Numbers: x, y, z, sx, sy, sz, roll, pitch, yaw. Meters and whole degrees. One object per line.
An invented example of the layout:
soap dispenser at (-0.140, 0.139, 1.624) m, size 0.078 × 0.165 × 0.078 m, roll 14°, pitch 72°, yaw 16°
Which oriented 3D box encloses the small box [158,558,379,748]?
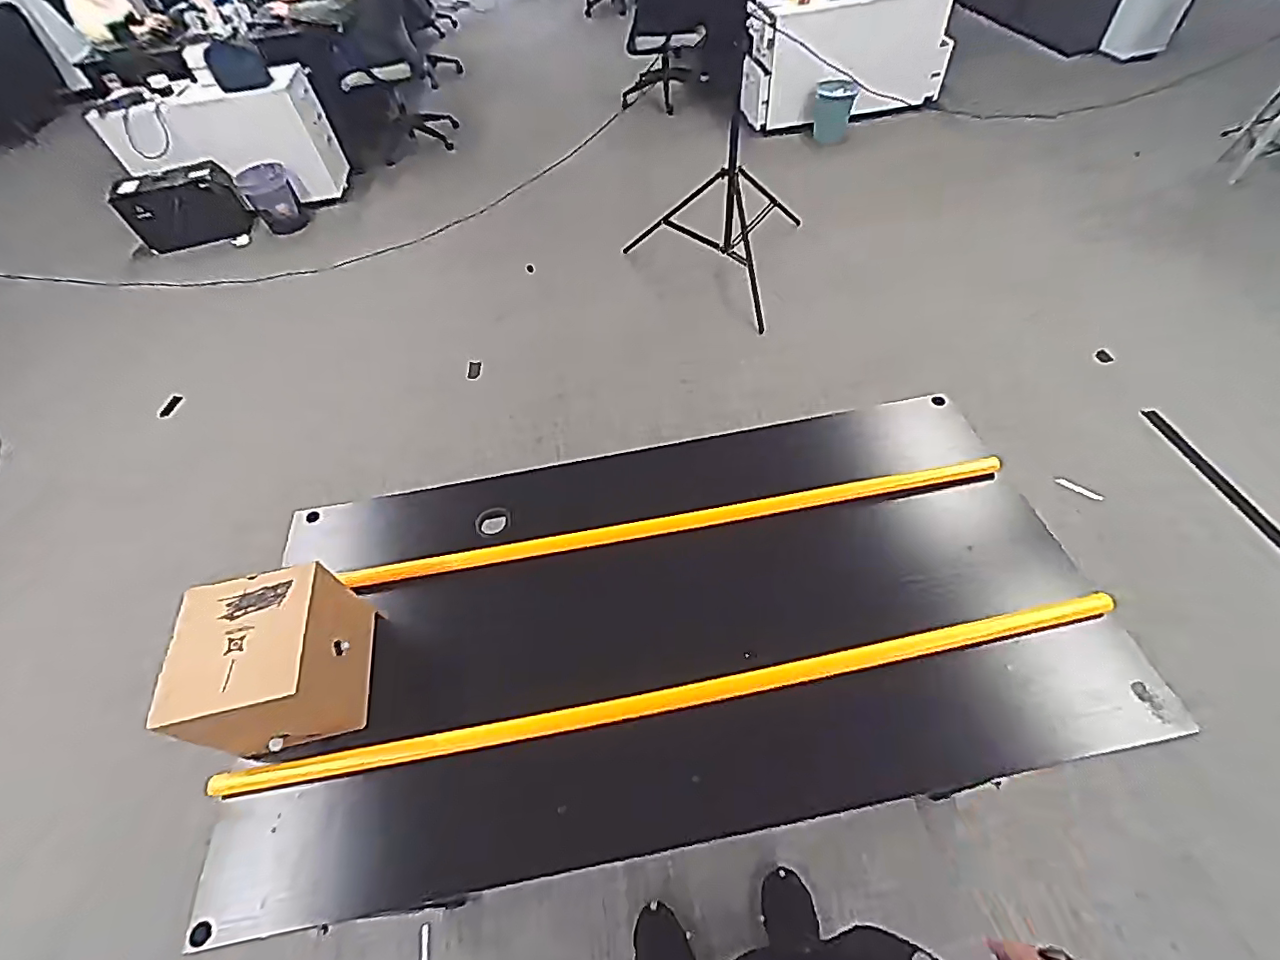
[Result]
small box at (-0.468, 0.232, 0.719) m, size 0.168 × 0.176 × 0.179 m, roll -13°, pitch 54°, yaw -4°
